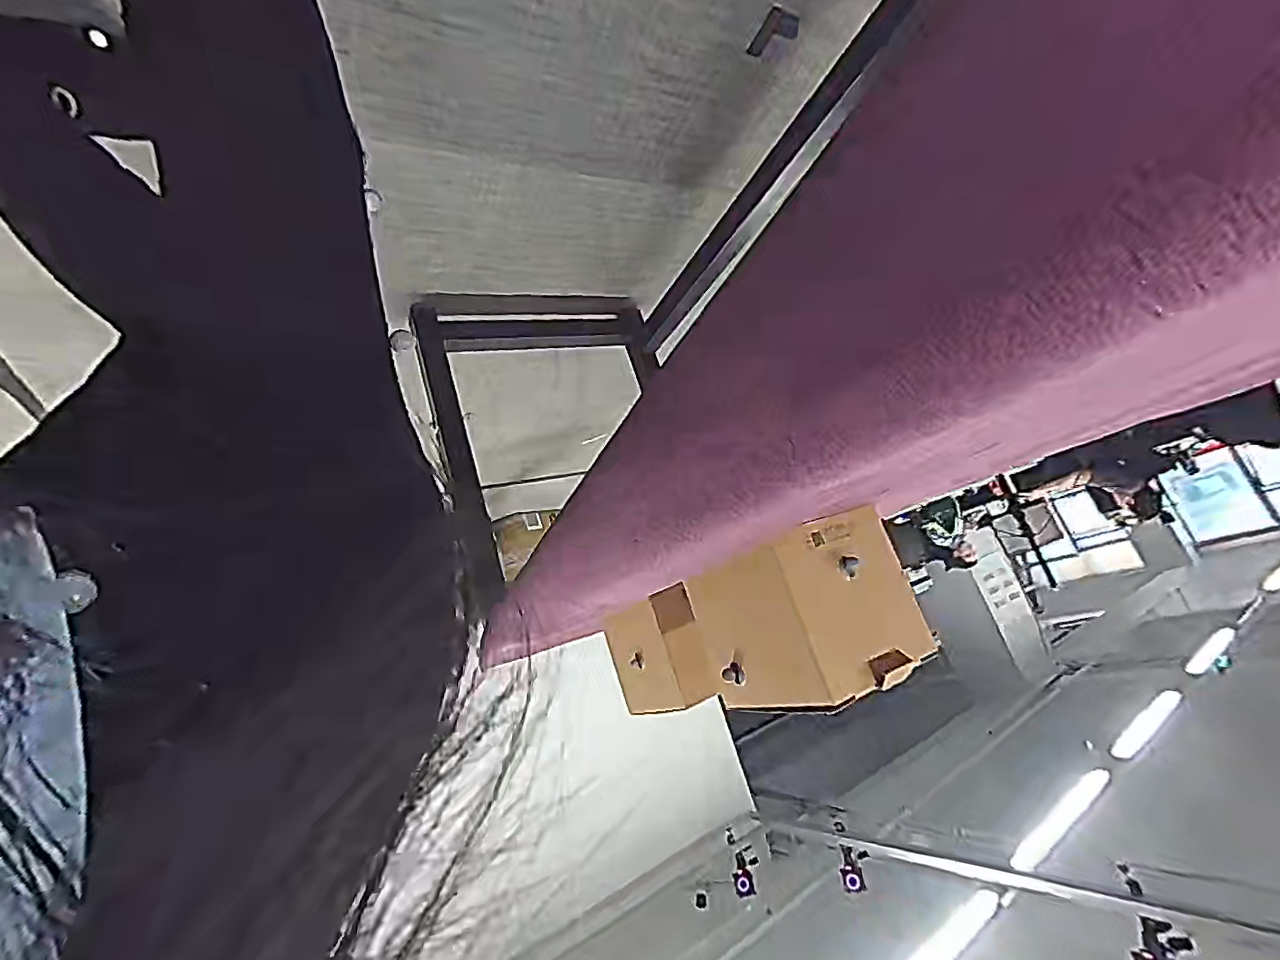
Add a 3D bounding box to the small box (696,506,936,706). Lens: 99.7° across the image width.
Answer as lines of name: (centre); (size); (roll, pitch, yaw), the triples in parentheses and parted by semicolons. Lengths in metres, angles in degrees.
small box: (0.183, 0.141, 0.615); (0.168, 0.176, 0.179); (-11, 163, -31)
